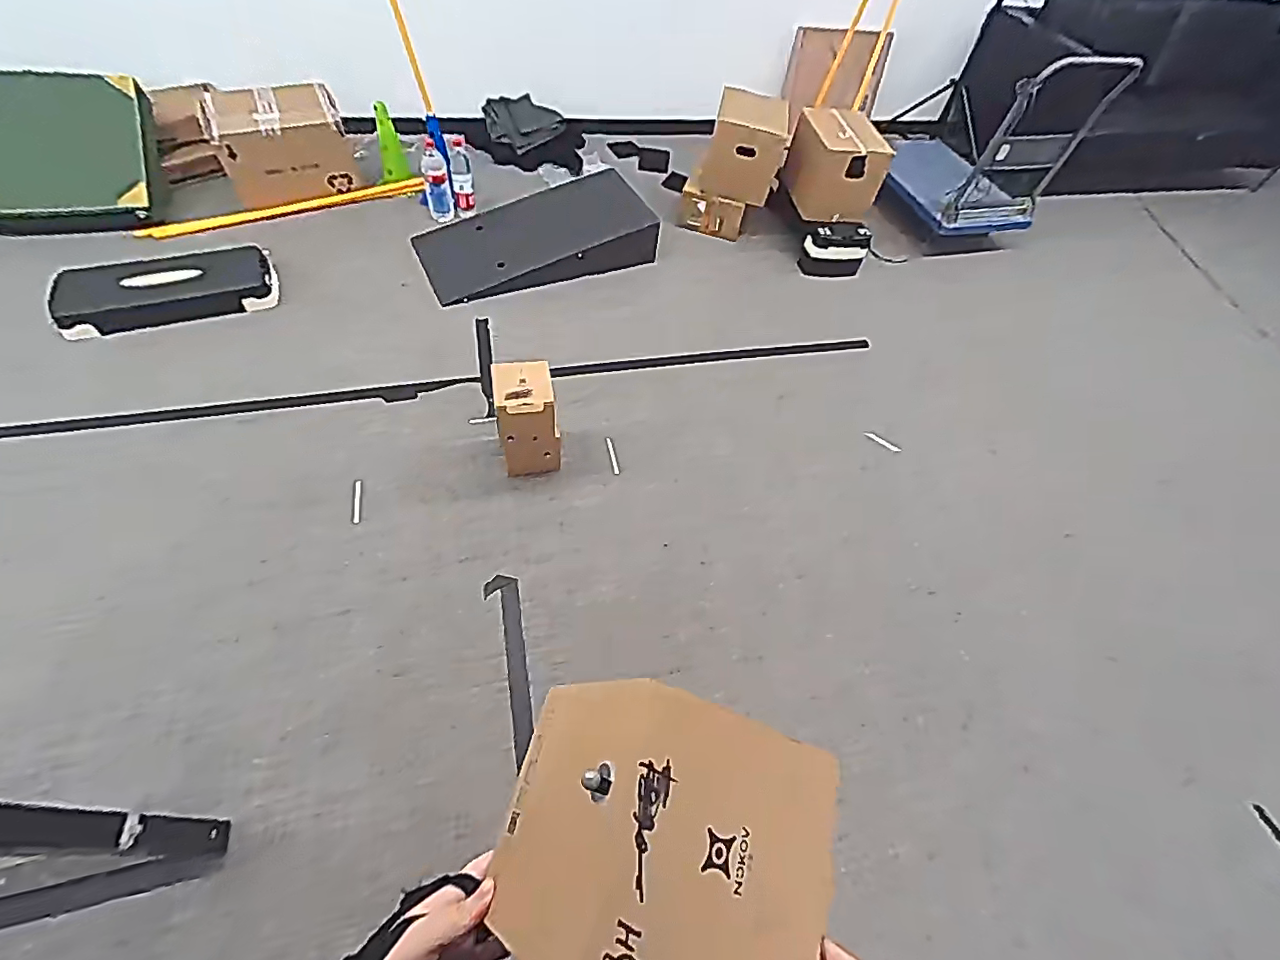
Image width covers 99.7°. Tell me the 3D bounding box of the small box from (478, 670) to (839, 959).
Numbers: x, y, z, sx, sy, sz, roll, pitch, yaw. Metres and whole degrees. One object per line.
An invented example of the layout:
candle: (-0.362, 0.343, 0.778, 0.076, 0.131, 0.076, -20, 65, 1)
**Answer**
small box: (0.013, 0.251, 0.391, 0.179, 0.176, 0.168, 31, 56, -19)

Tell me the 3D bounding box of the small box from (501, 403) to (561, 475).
small box: (-0.353, -0.134, 1.732, 0.179, 0.176, 0.168, -8, 57, -13)

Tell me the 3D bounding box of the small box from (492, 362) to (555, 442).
small box: (-0.343, -0.224, 1.595, 0.168, 0.176, 0.179, -6, 55, -13)
